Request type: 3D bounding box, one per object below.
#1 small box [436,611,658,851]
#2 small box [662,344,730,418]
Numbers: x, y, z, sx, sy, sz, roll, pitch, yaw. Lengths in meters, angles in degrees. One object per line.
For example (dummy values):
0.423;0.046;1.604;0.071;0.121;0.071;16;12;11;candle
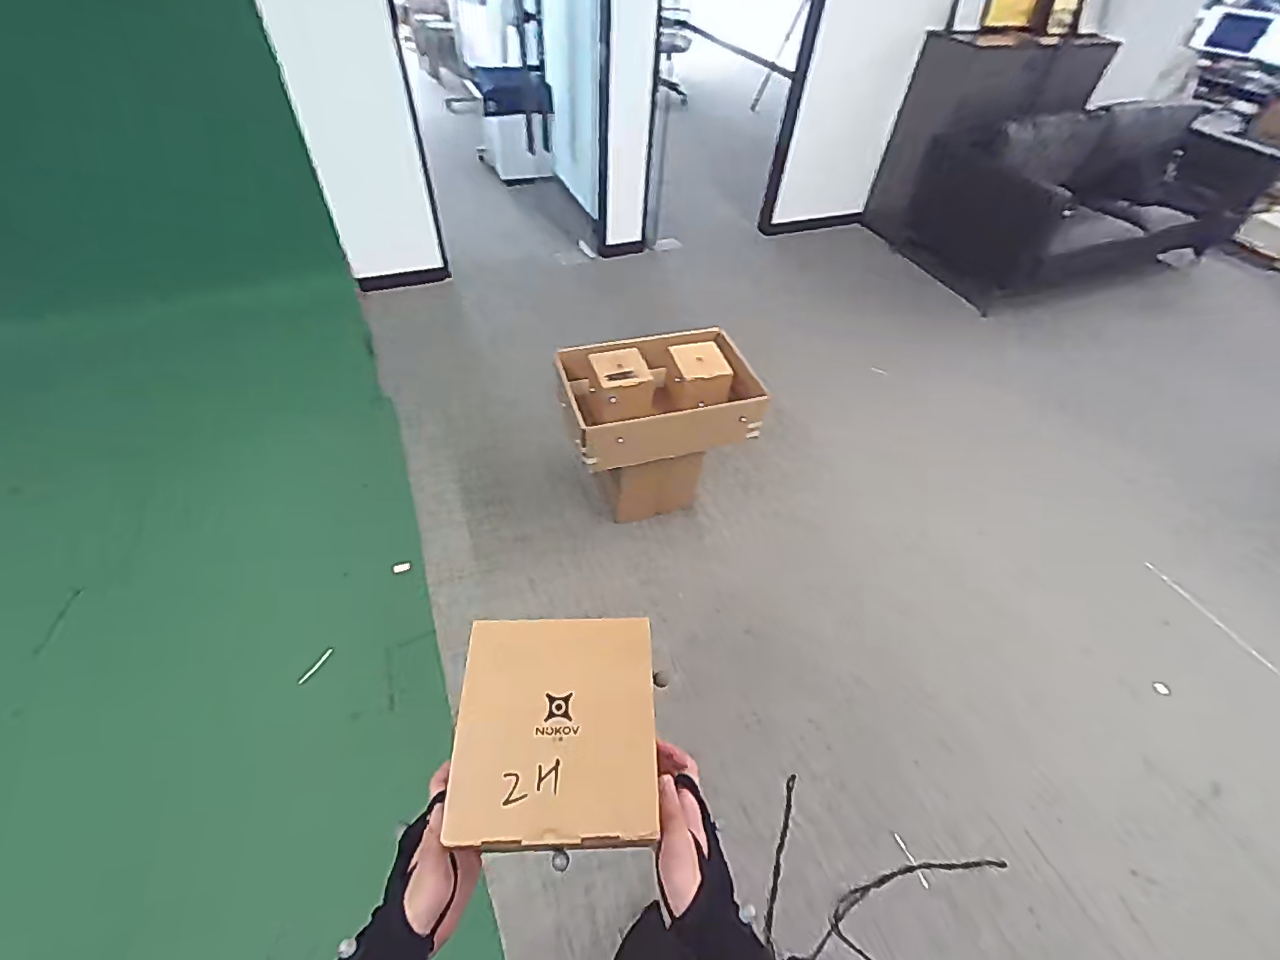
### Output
-0.073;0.238;0.509;0.168;0.176;0.179;0;53;-2;small box
0.180;-0.331;1.807;0.168;0.176;0.179;-11;51;-14;small box
